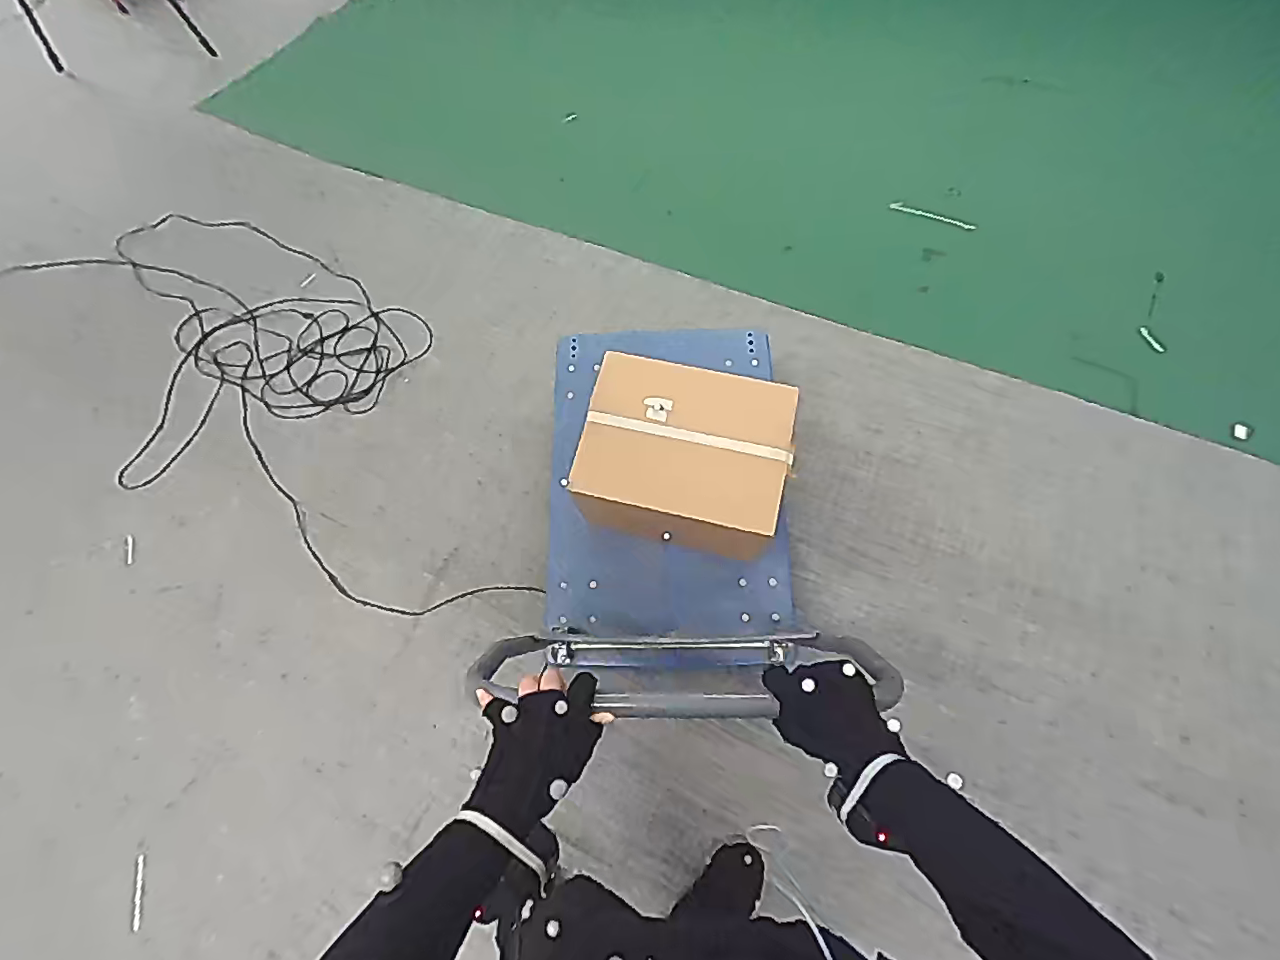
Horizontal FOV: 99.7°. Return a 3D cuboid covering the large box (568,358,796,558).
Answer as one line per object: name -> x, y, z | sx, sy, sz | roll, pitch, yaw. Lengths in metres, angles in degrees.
large box -> 0.098, -0.033, 1.201 | 0.408, 0.320, 0.320 | 12, 74, 7
